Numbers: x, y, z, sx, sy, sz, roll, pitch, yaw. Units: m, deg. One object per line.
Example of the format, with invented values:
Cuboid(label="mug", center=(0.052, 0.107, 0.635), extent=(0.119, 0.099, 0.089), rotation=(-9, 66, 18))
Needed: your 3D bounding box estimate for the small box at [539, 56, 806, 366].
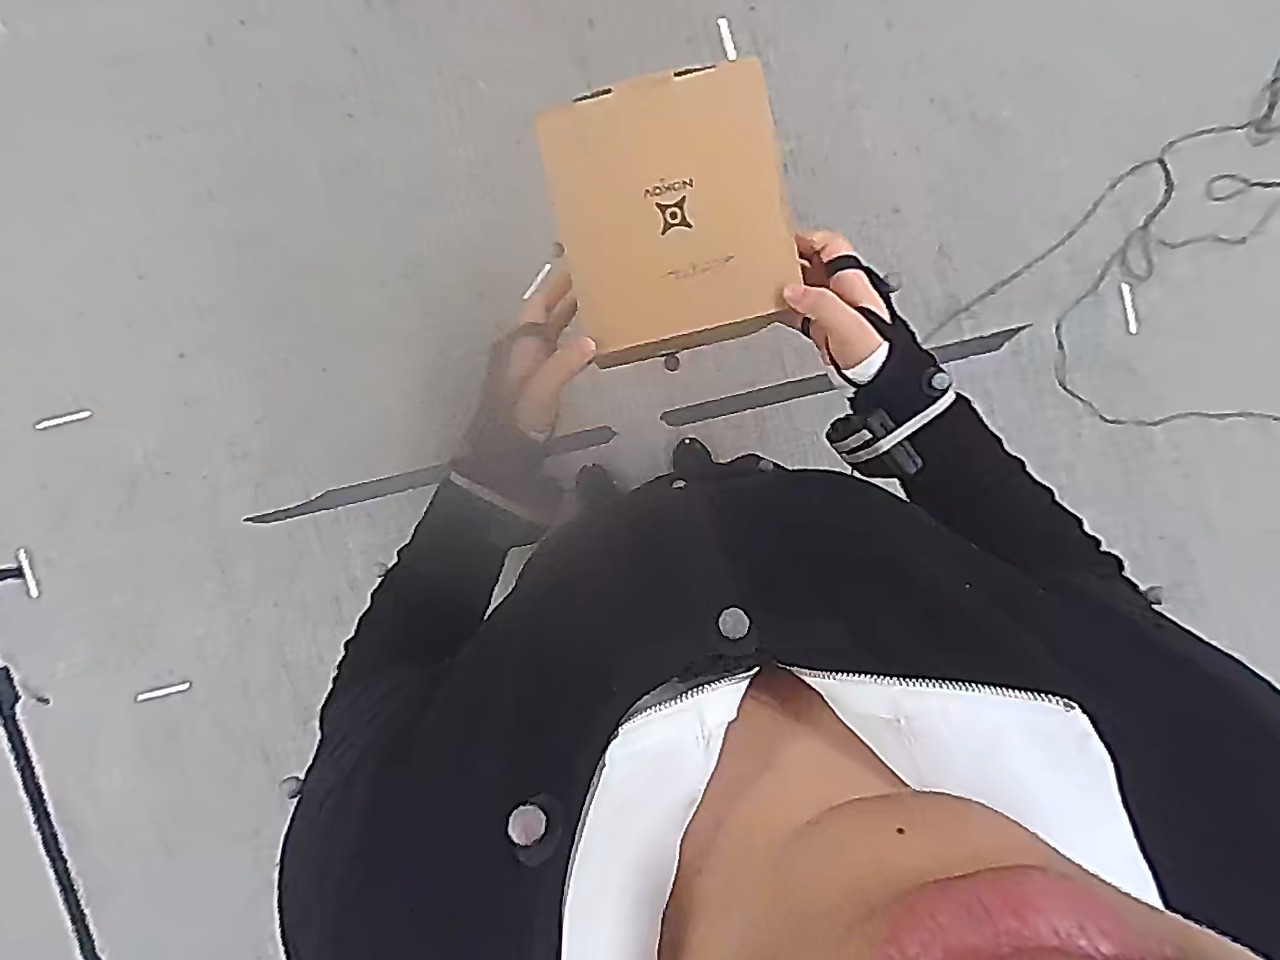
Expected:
Cuboid(label="small box", center=(0.022, -0.205, 0.465), extent=(0.168, 0.176, 0.179), rotation=(-13, 99, 0))
